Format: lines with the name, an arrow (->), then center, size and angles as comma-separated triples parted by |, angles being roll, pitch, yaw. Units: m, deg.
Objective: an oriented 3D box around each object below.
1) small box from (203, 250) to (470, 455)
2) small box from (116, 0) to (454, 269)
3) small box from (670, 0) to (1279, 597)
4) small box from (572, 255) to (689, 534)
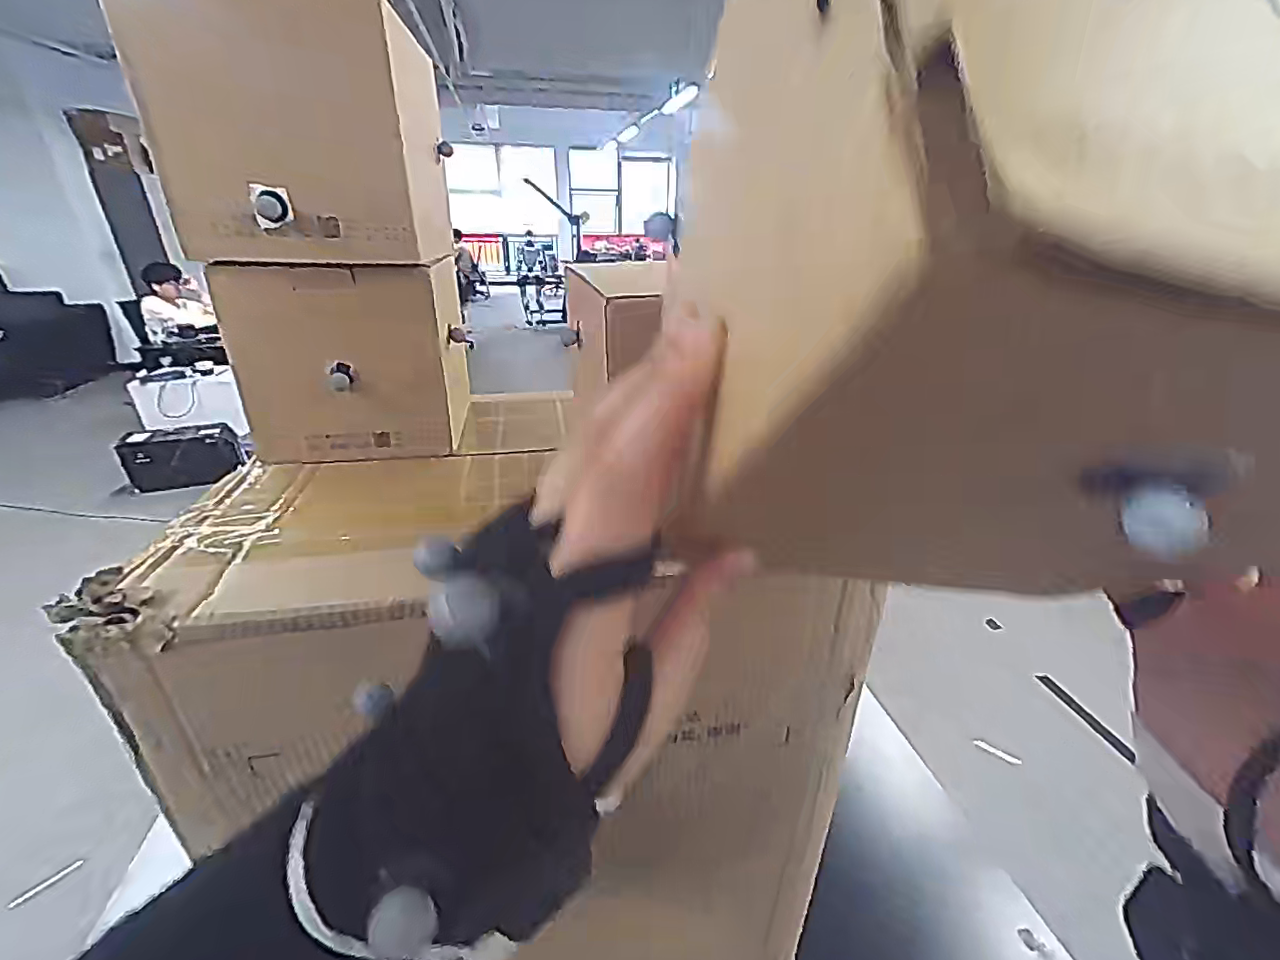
small box -> -0.262, -0.128, 0.522 | 0.168, 0.176, 0.179 | -4, 26, -11
small box -> -0.254, -0.269, 0.438 | 0.168, 0.176, 0.179 | -4, 26, -9
small box -> 0.110, -0.061, 0.162 | 0.179, 0.168, 0.176 | 7, -19, -7
small box -> 0.041, -0.078, 0.422 | 0.168, 0.176, 0.179 | -8, 28, -12
